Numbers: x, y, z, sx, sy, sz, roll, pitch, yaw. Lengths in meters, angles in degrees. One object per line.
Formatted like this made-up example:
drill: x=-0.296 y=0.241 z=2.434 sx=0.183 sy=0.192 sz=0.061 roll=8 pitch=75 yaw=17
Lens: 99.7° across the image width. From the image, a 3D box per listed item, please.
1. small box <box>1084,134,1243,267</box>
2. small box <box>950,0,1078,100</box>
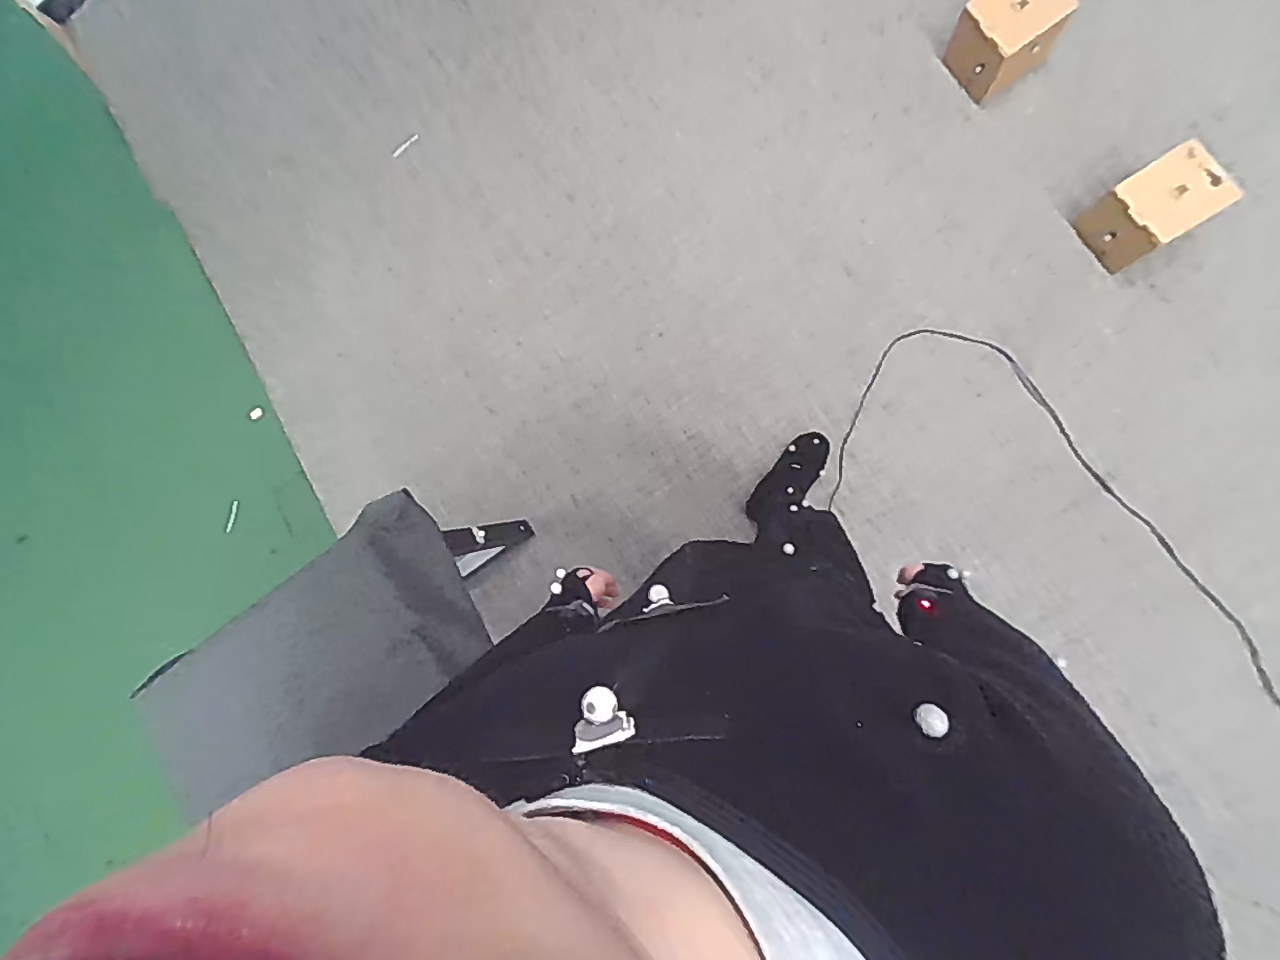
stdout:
small box: x=1.165 y=-0.621 z=1.230 sx=0.179 sy=0.176 sz=0.168 roll=-33 pitch=81 yaw=11
small box: x=0.887 y=-1.084 z=1.311 sx=0.179 sy=0.176 sz=0.168 roll=-34 pitch=82 yaw=9
